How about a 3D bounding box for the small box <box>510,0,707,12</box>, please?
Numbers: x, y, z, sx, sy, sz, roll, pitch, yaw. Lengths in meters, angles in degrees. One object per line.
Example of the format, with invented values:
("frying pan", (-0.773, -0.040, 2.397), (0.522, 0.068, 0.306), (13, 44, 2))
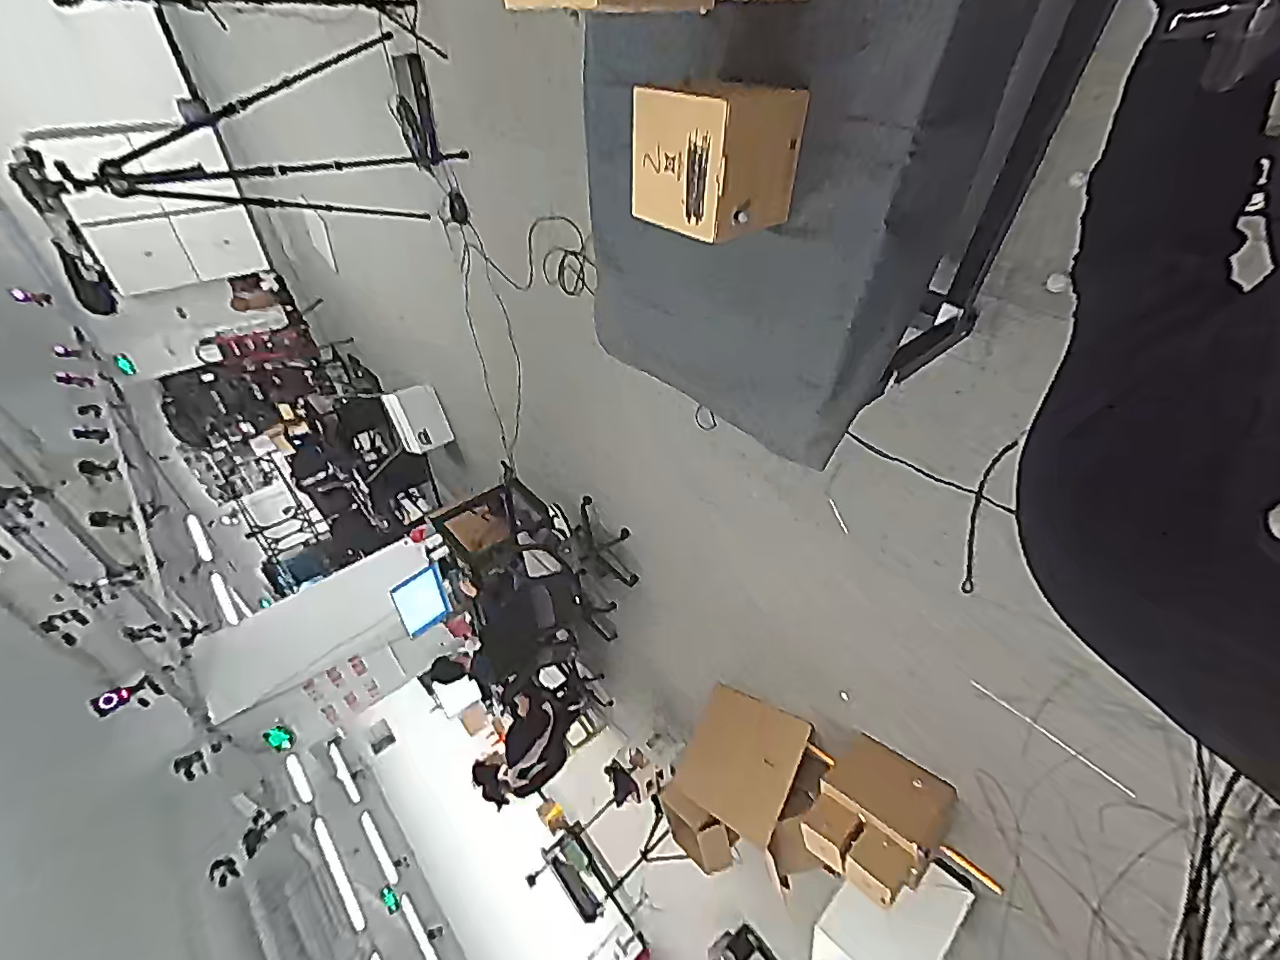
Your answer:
("small box", (-0.032, -0.601, 0.566), (0.179, 0.176, 0.168), (35, 142, 34))
